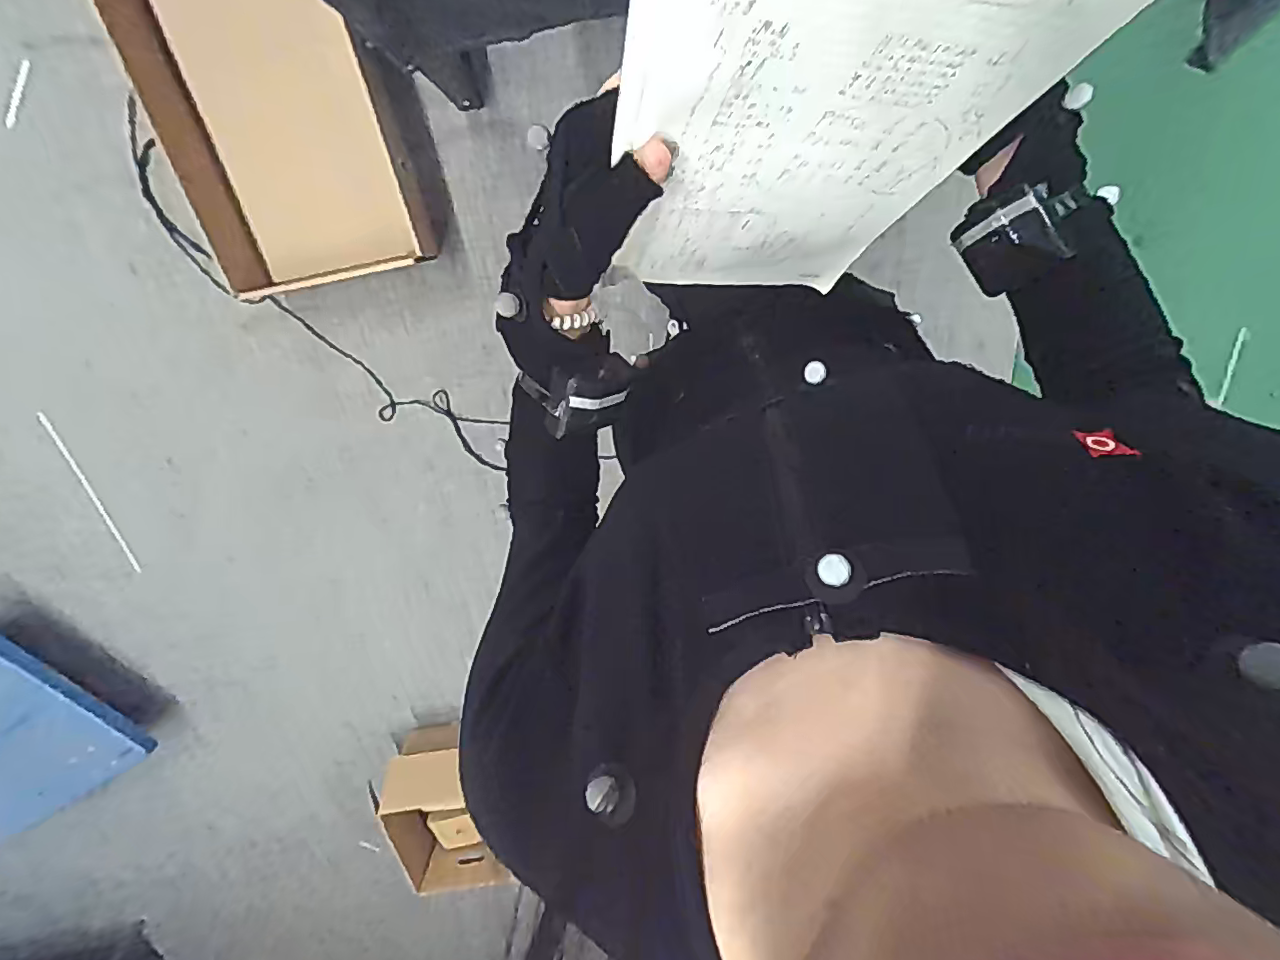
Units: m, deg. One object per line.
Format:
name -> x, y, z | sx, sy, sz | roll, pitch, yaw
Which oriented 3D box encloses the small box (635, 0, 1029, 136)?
small box -> 0.089, -0.310, 0.307 | 0.179, 0.176, 0.168 | -12, 119, 1
